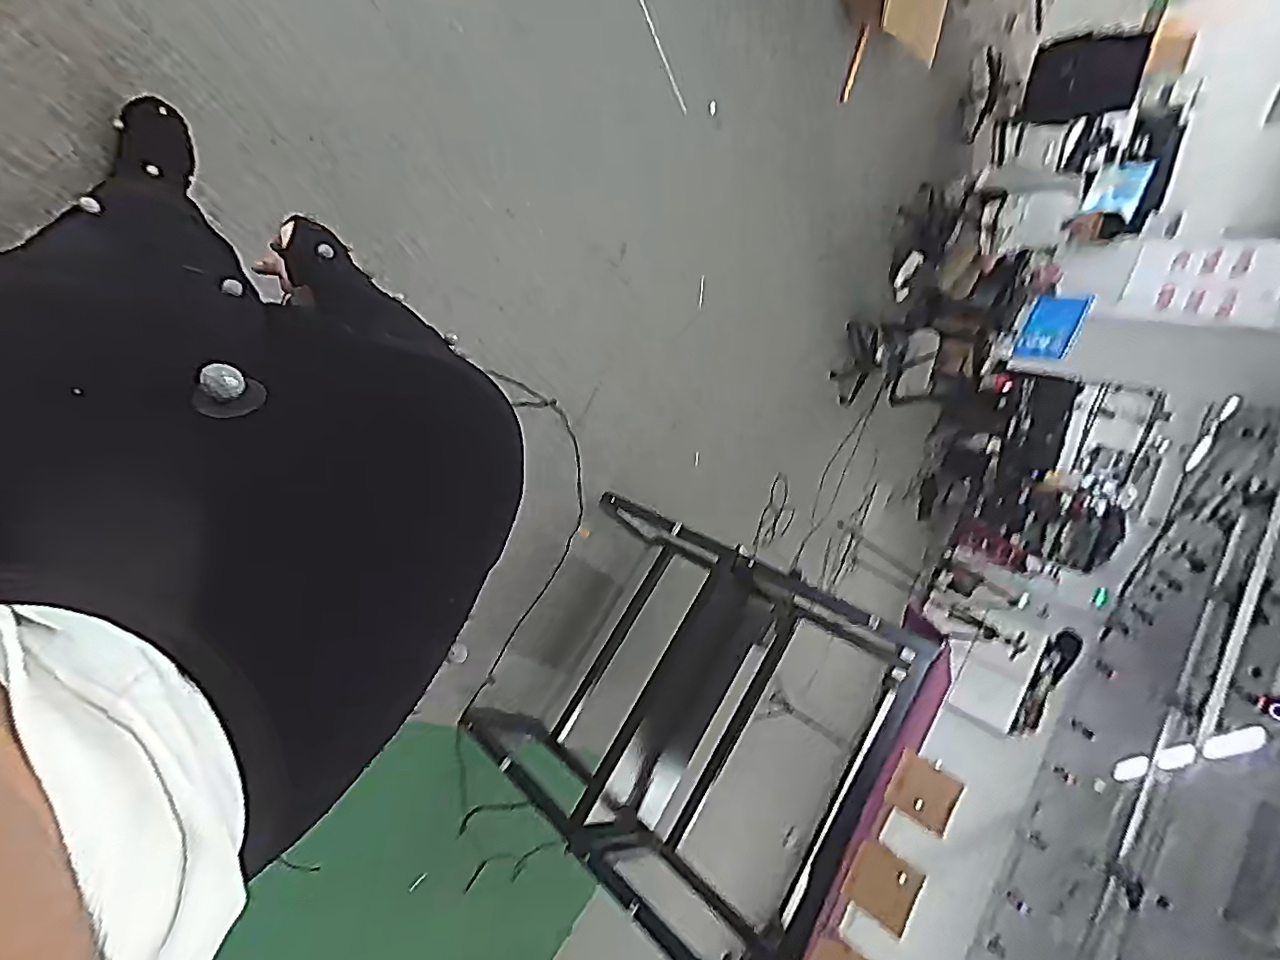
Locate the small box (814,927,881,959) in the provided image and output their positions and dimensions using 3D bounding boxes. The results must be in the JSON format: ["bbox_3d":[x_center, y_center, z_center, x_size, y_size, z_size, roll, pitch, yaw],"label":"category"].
[{"bbox_3d":[0.556,1.366,1.471,0.179,0.176,0.168,-59,143,-12],"label":"small box"}]

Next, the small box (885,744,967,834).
[{"bbox_3d":[0.835,0.903,1.585,0.168,0.176,0.179,-57,143,-13],"label":"small box"}]
